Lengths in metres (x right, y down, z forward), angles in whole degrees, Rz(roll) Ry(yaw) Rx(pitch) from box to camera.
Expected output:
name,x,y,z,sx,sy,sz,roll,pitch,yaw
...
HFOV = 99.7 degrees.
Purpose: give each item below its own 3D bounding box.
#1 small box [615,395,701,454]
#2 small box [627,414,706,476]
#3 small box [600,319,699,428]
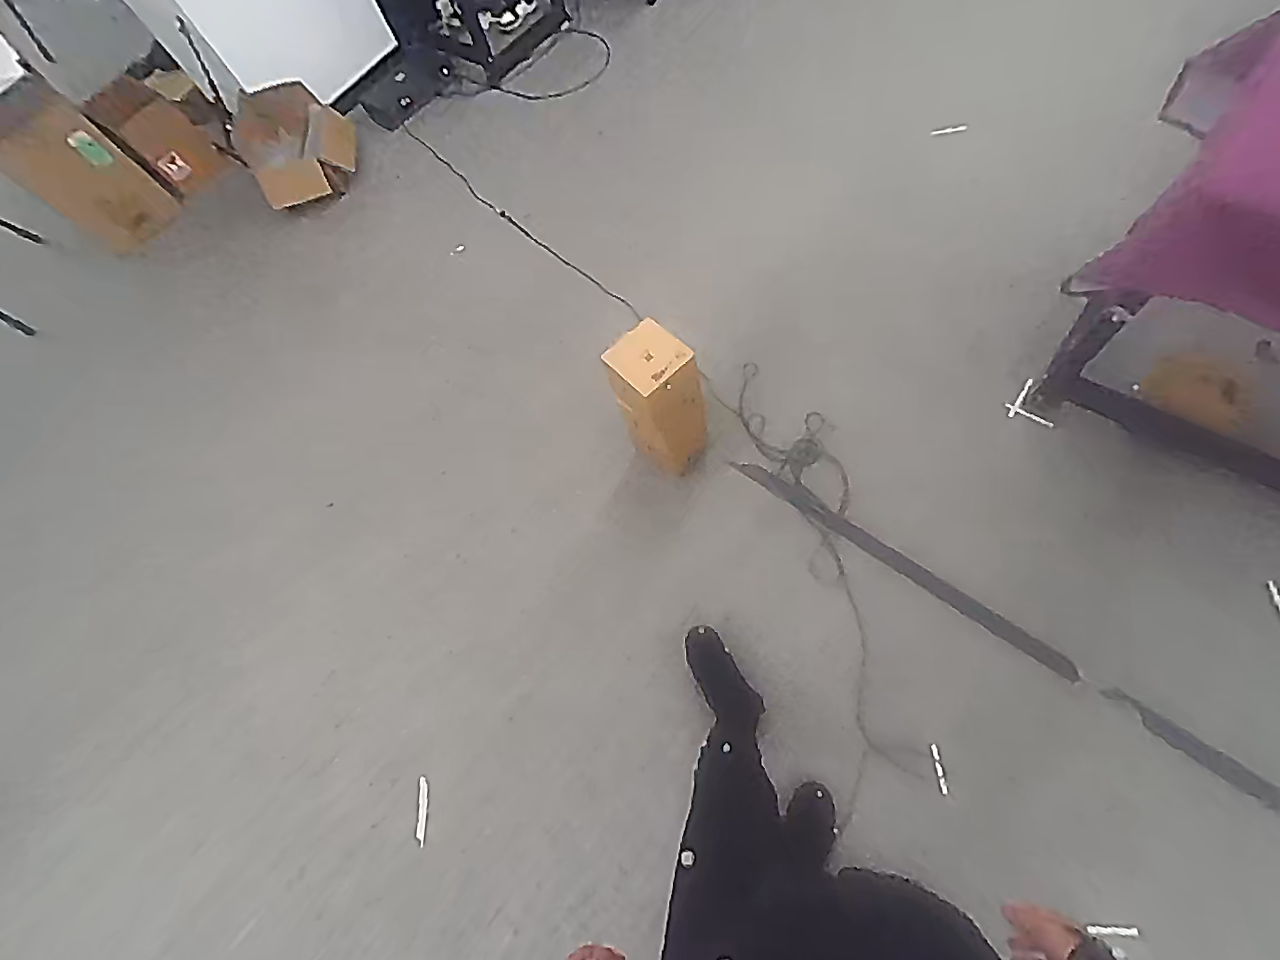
name,x,y,z,sx,sy,sz,roll,pitch,yaw
small box,0.059,-0.203,1.522,0.168,0.176,0.179,36,78,23
small box,0.087,-0.140,1.669,0.179,0.176,0.168,35,78,22
small box,0.030,-0.264,1.373,0.168,0.176,0.179,-42,65,-8
